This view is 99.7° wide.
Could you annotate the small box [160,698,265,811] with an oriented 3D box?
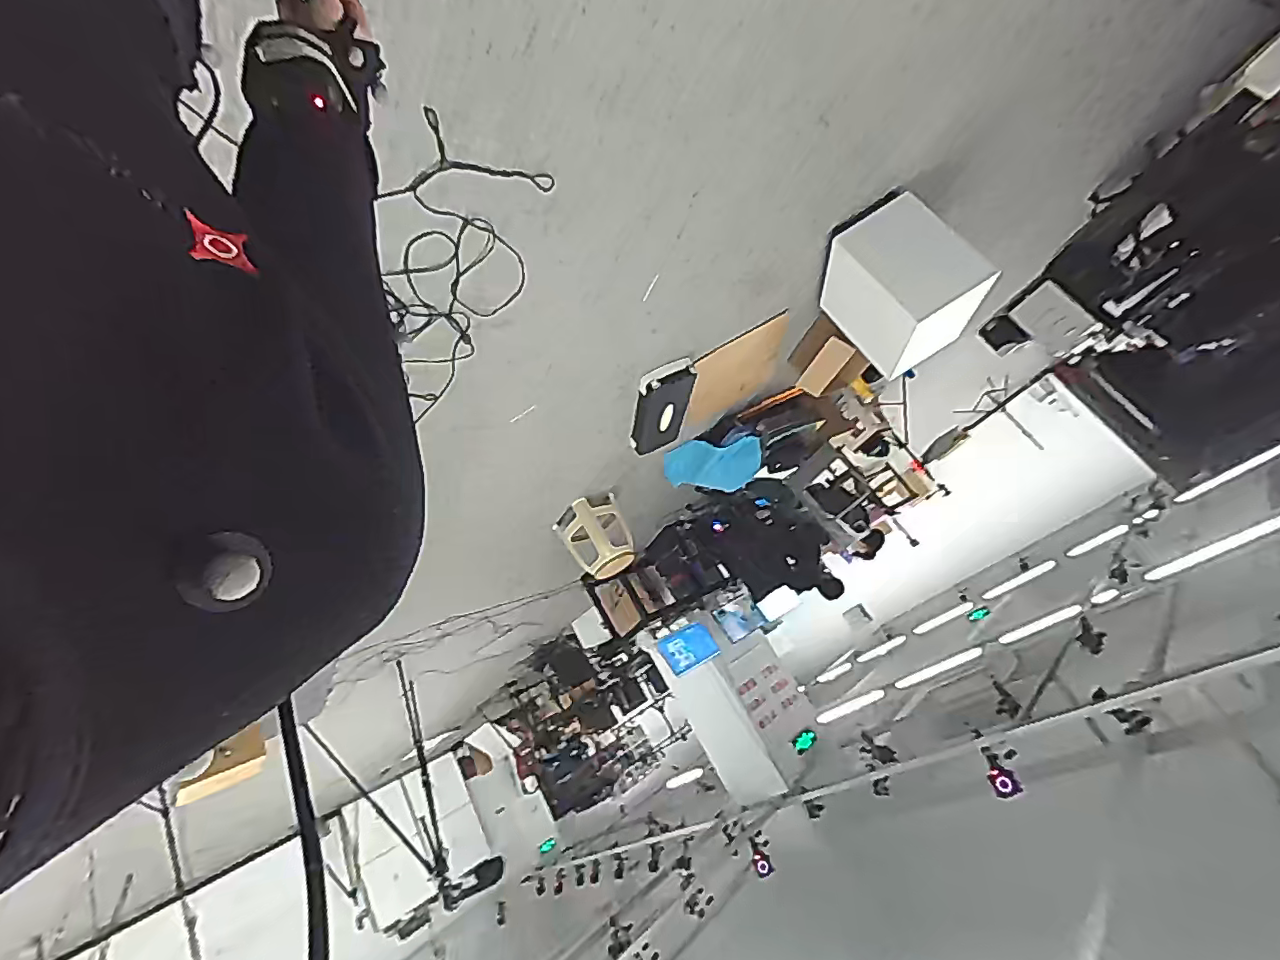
[{"bbox_3d":[-1.077,0.682,1.356,0.179,0.176,0.168,-11,150,-48],"label":"small box"}]
